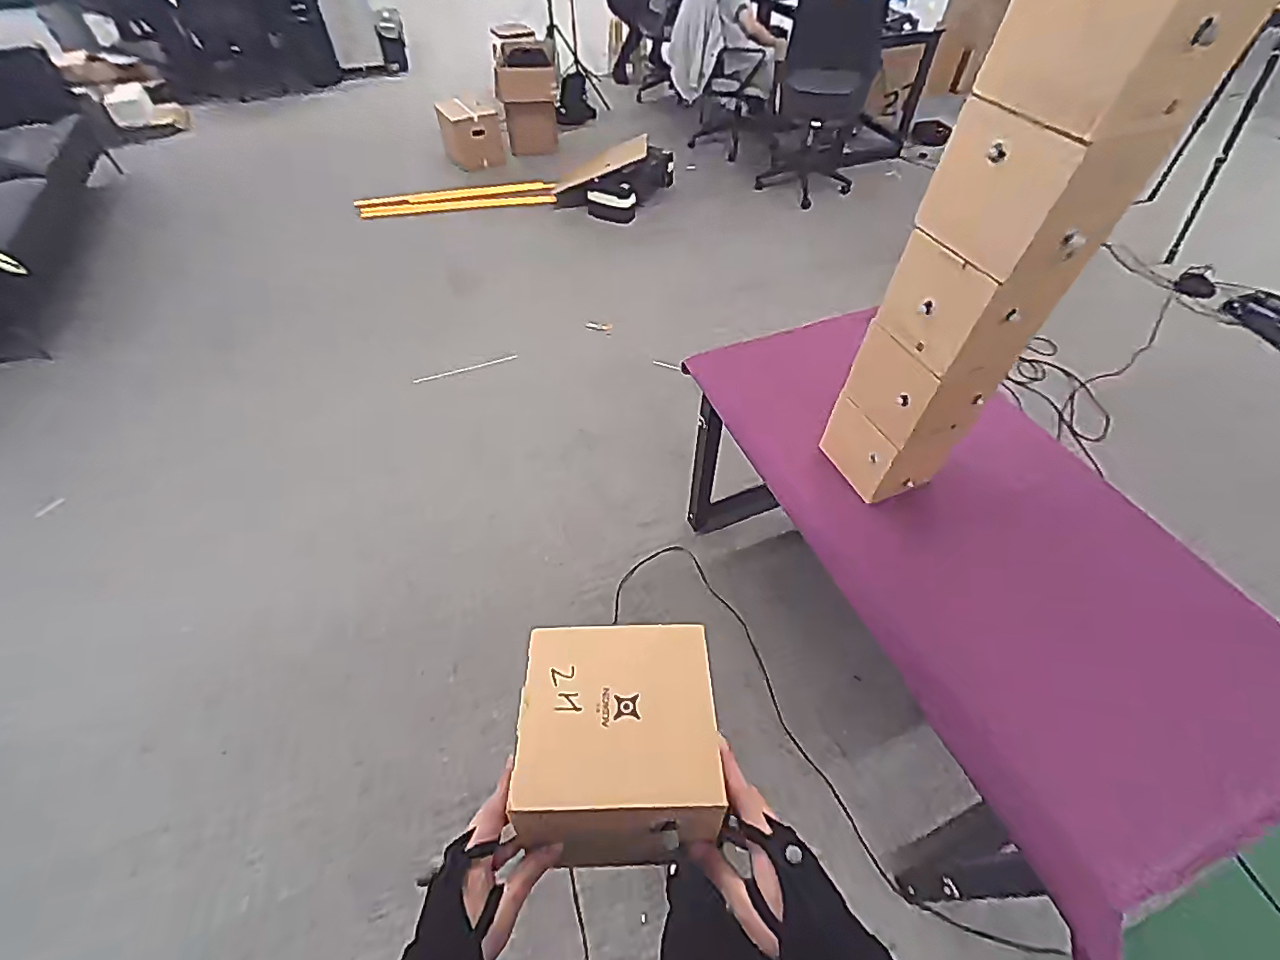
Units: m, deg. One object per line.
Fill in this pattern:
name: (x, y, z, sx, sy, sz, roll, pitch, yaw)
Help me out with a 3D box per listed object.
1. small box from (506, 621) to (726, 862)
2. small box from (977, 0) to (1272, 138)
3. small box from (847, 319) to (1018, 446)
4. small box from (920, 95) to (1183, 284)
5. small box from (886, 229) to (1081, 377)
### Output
small box: (-0.020, 0.258, 0.535, 0.179, 0.176, 0.168, -1, 41, 0)
small box: (0.518, -0.484, 0.577, 0.168, 0.176, 0.179, -18, 54, -15)
small box: (0.504, -0.180, 0.961, 0.168, 0.176, 0.179, -17, 53, -14)
small box: (0.511, -0.384, 0.706, 0.168, 0.176, 0.179, -18, 55, -15)
small box: (0.512, -0.284, 0.836, 0.179, 0.176, 0.168, -19, 55, -15)
